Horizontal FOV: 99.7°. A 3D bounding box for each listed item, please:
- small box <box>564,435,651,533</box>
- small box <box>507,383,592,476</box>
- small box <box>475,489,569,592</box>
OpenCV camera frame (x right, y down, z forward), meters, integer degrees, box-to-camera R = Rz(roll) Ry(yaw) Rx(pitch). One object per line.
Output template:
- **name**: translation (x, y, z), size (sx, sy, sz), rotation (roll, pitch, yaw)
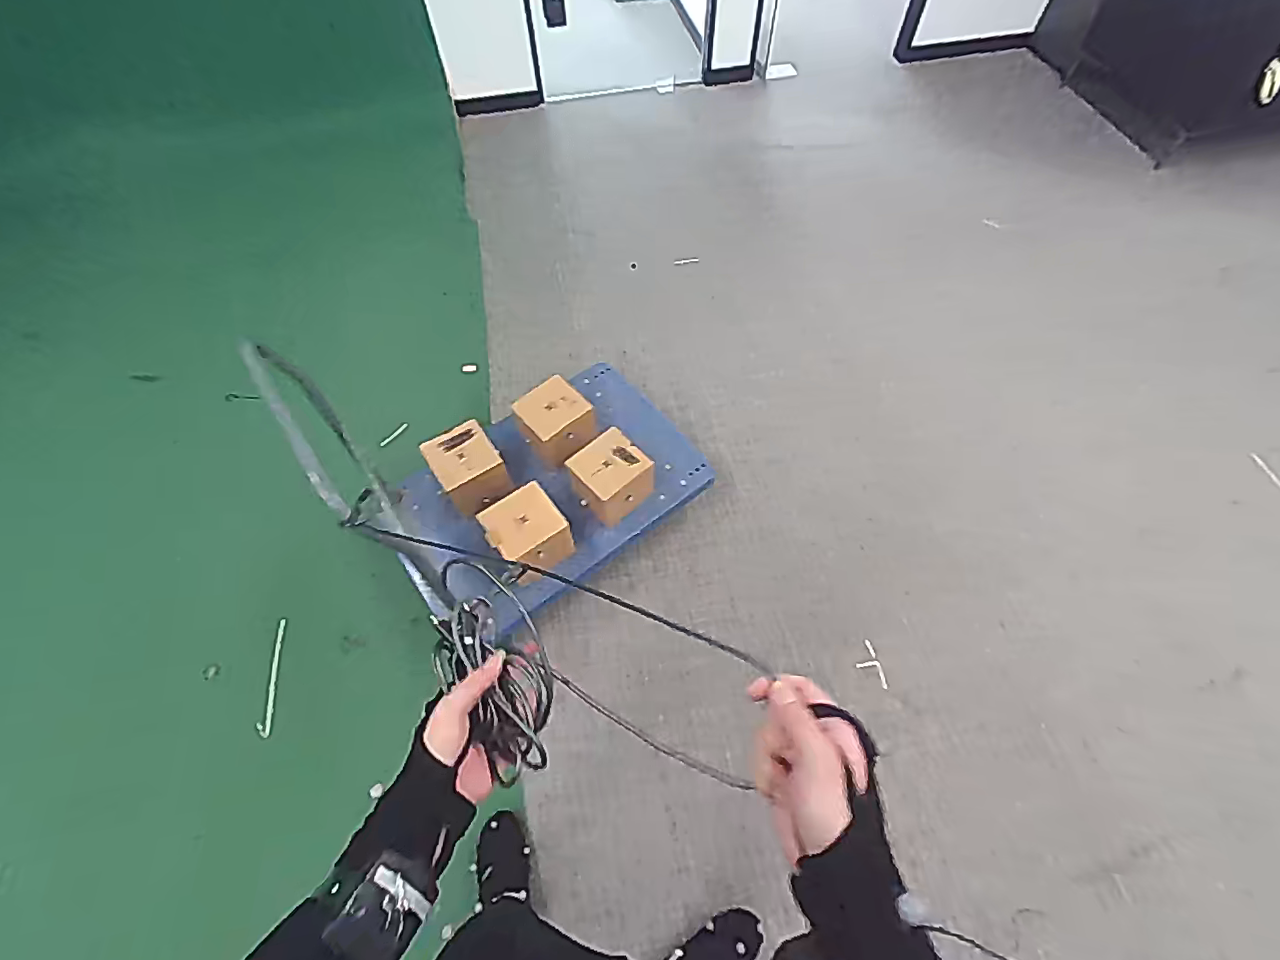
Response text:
- **small box**: translation (-0.087, 0.014, 1.496), size (0.179, 0.176, 0.168), rotation (-39, 66, -18)
- **small box**: translation (-0.258, -0.144, 1.591), size (0.179, 0.176, 0.168), rotation (-39, 67, -19)
- **small box**: translation (-0.299, 0.162, 1.416), size (0.179, 0.176, 0.168), rotation (-34, 65, -17)
